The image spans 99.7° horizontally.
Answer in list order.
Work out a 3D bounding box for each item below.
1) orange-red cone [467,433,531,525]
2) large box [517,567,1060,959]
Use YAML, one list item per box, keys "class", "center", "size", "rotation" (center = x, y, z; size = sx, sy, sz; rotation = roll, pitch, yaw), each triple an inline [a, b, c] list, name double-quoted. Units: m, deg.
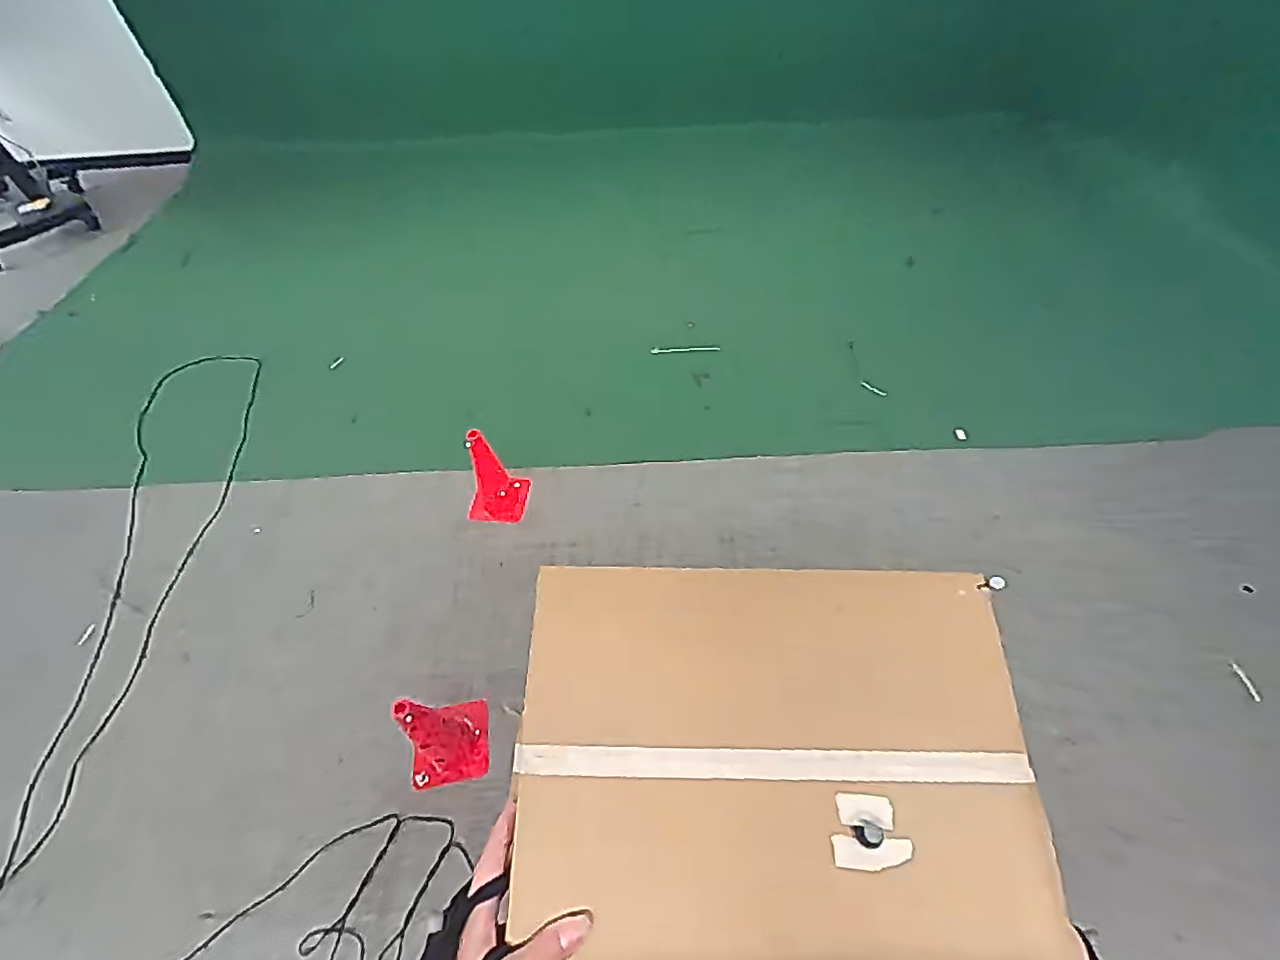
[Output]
- class: "orange-red cone"
  center: [-0.524, -0.025, 1.853]
  size: [0.199, 0.360, 0.198]
  rotation: [3, 51, 7]
- class: "large box"
  center: [0.106, 0.285, 0.583]
  size: [0.408, 0.320, 0.320]
  rotation: [1, 67, 0]
